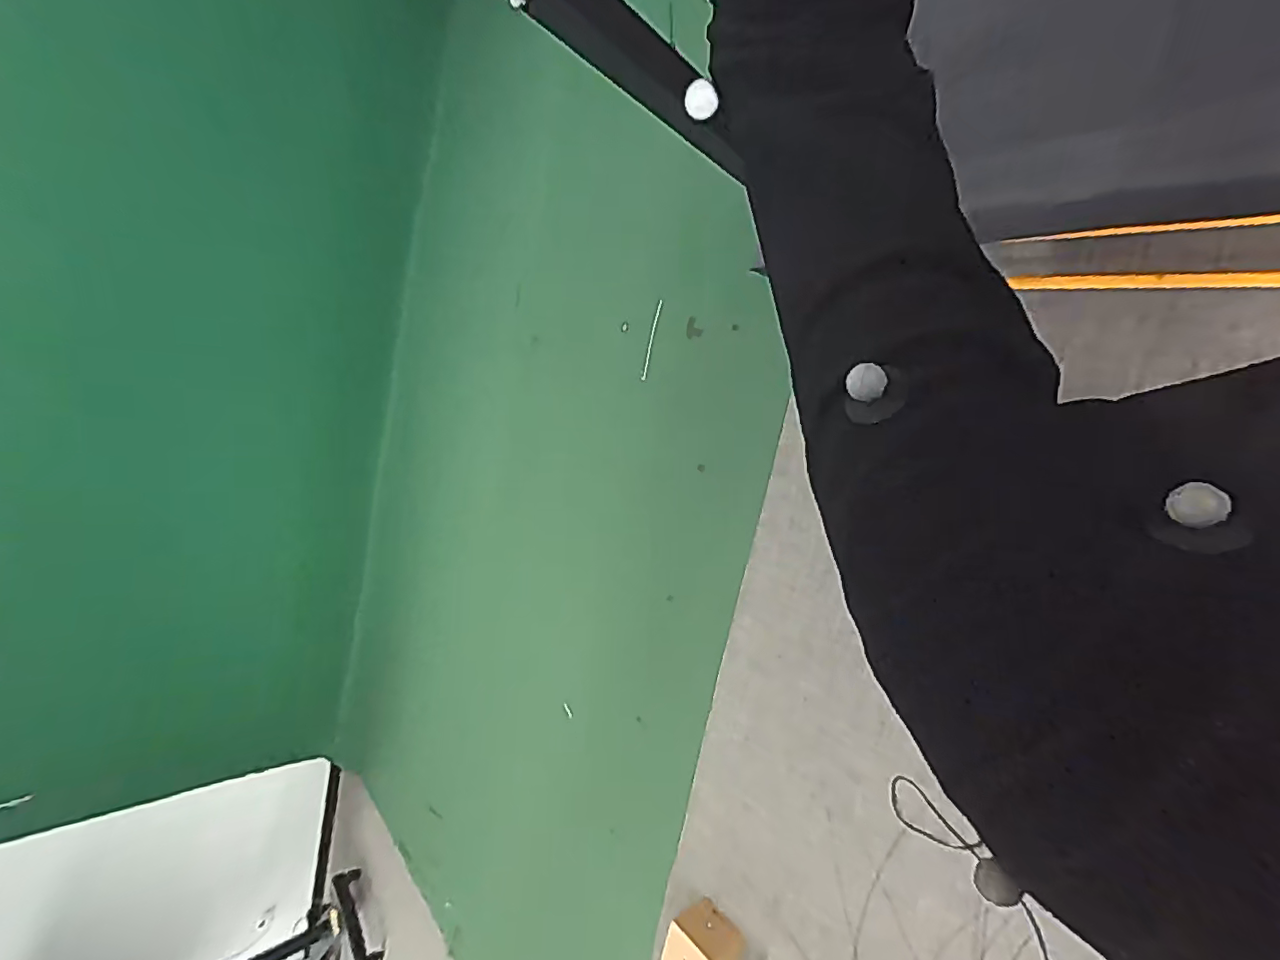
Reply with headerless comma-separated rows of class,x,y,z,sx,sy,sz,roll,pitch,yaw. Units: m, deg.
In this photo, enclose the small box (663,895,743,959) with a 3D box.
small box,0.203,1.481,1.715,0.168,0.176,0.179,20,101,44
